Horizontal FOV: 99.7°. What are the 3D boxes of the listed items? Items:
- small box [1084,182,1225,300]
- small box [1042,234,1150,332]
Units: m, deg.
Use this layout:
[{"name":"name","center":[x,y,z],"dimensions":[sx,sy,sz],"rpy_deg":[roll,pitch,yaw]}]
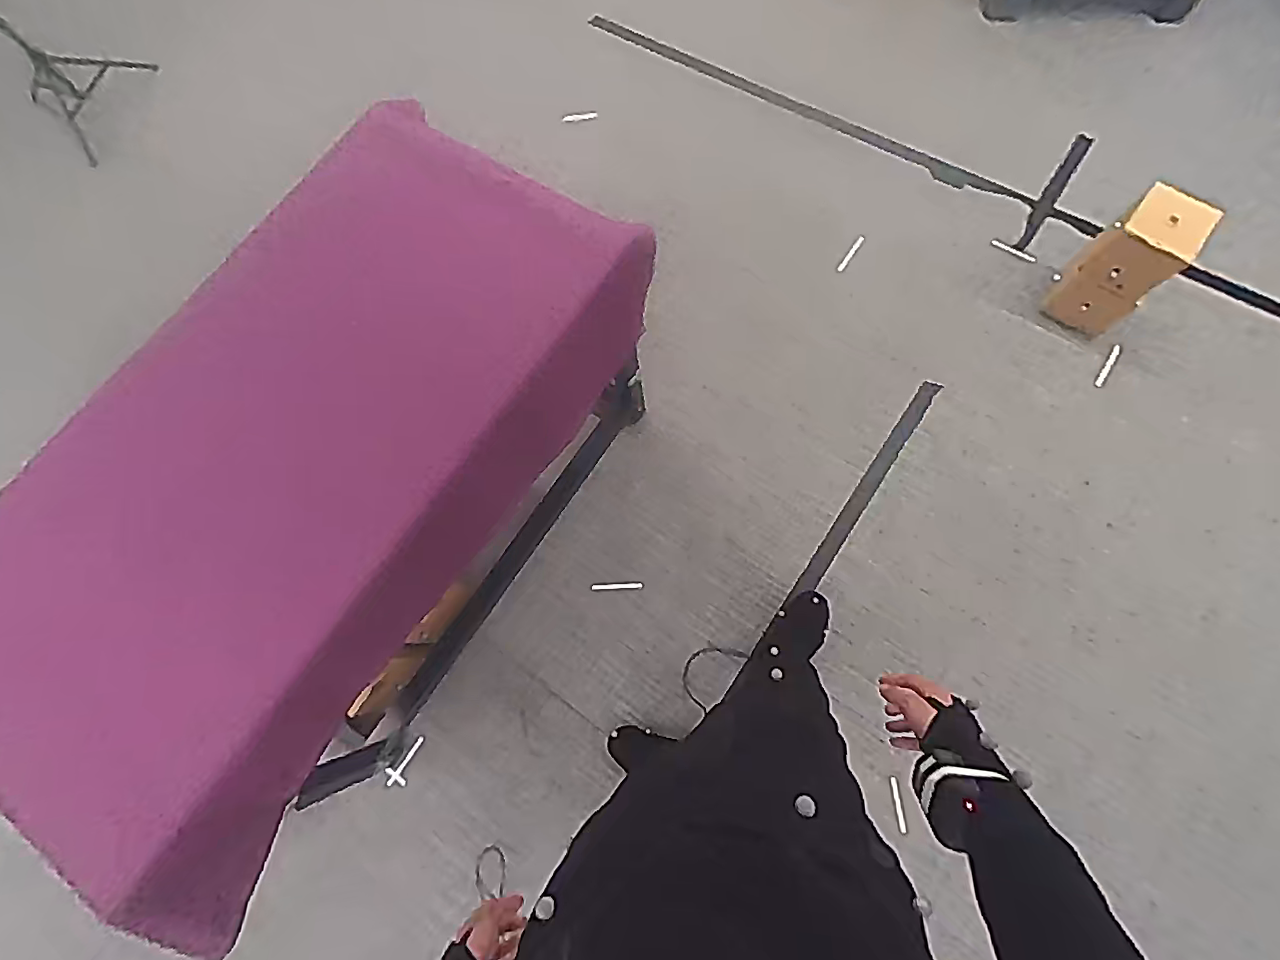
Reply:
[{"name":"small box","center":[1.293,-0.601,1.376],"dimensions":[0.168,0.176,0.179],"rpy_deg":[37,81,12]},{"name":"small box","center":[1.301,-0.546,1.529],"dimensions":[0.179,0.176,0.168],"rpy_deg":[32,79,12]}]
